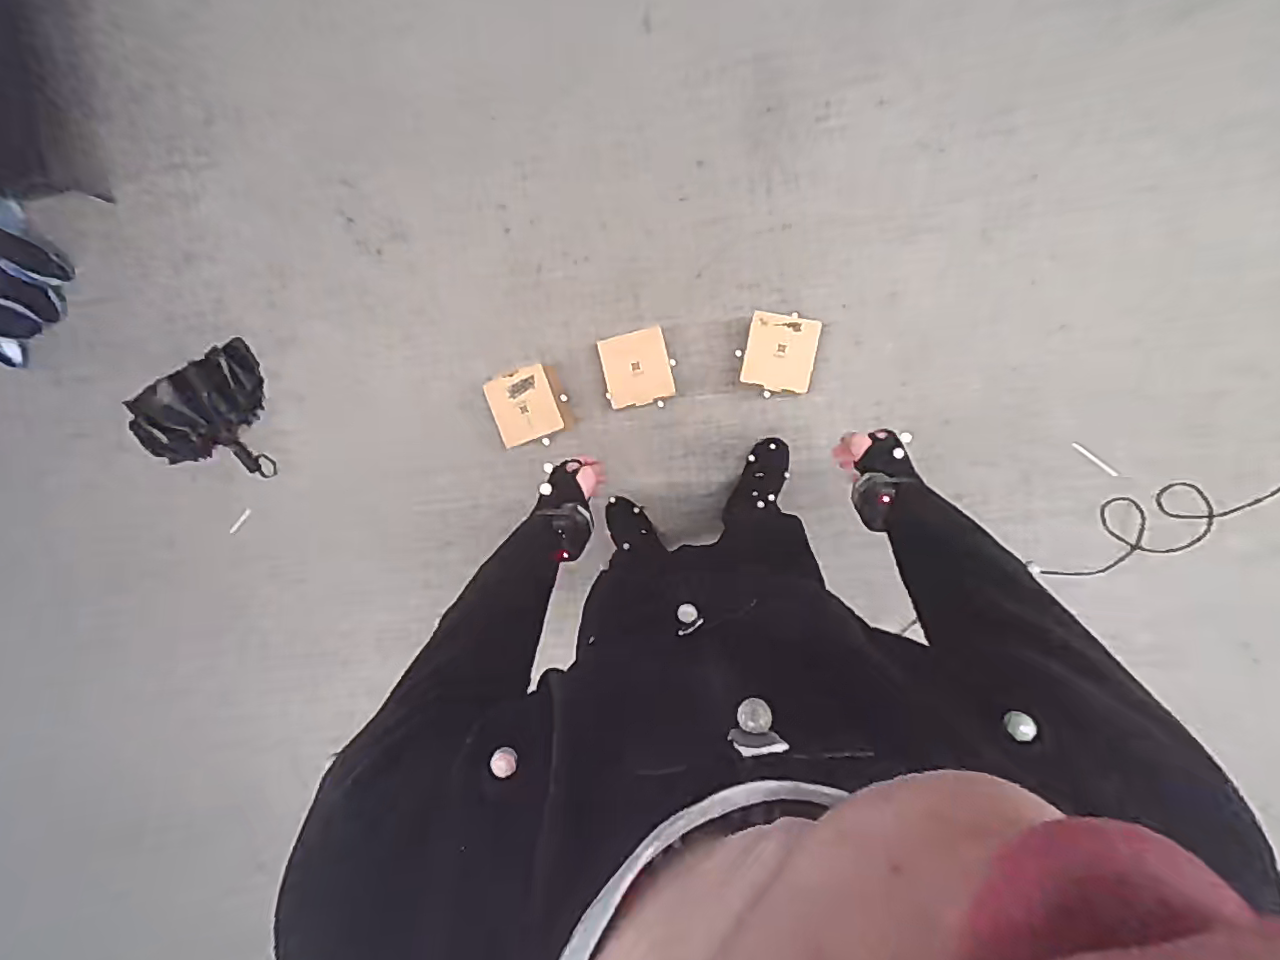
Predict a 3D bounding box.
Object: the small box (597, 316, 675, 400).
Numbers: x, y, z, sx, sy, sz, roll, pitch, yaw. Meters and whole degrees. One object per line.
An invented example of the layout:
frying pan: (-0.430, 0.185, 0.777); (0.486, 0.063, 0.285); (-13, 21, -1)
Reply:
small box: (-0.004, -0.310, 1.418); (0.168, 0.176, 0.179); (-13, 94, 5)

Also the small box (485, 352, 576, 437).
small box: (-0.287, -0.224, 1.450); (0.168, 0.176, 0.179); (-19, 95, 7)

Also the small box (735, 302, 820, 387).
small box: (0.343, -0.338, 1.380); (0.168, 0.176, 0.179); (12, 98, 4)
